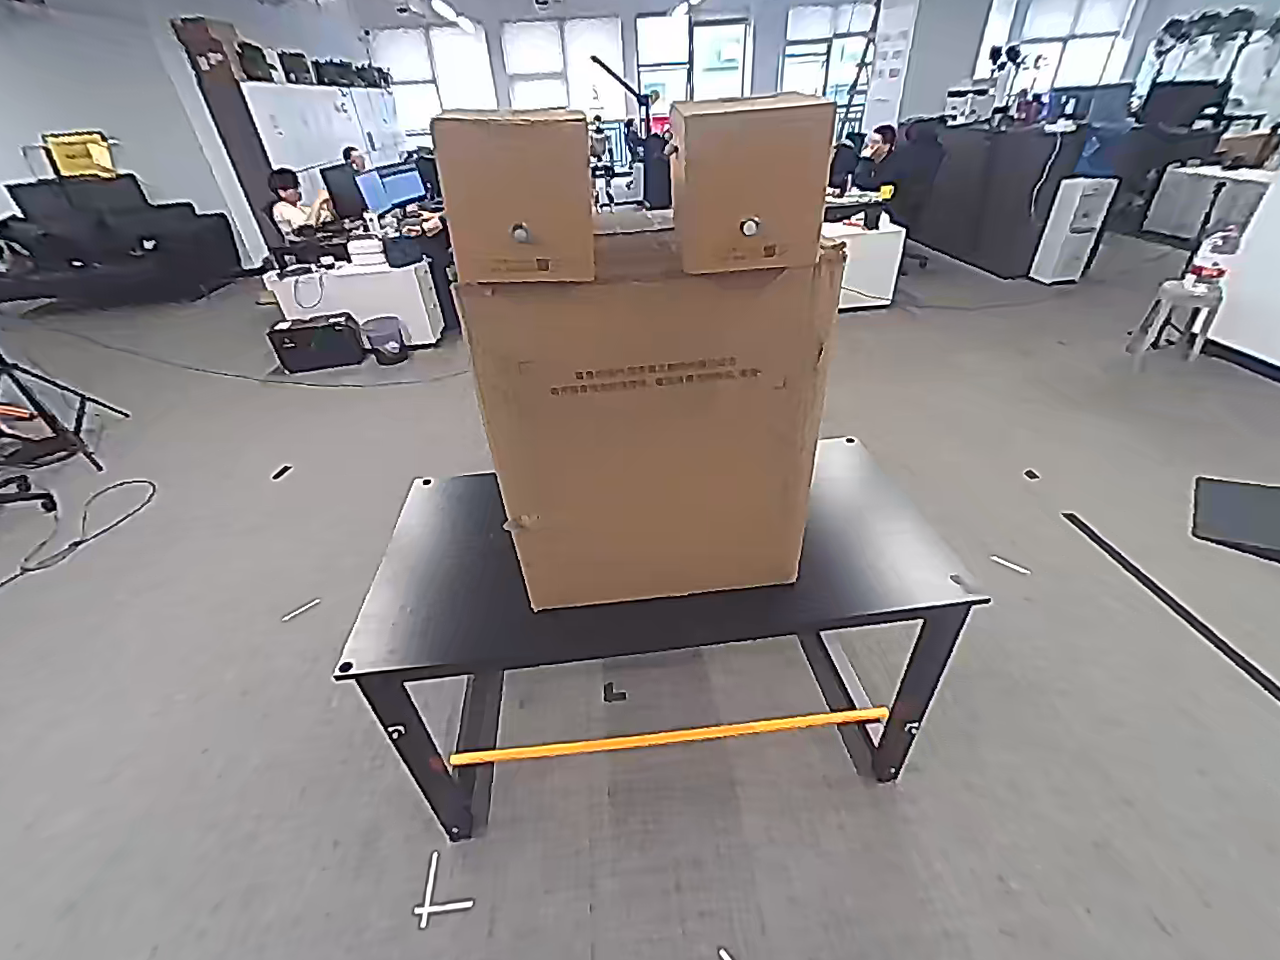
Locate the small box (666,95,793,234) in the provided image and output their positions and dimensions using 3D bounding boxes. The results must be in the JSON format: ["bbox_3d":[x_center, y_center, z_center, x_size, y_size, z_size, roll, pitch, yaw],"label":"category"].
[{"bbox_3d":[0.132,-0.494,0.851,0.168,0.176,0.179,-6,34,1],"label":"small box"}]
